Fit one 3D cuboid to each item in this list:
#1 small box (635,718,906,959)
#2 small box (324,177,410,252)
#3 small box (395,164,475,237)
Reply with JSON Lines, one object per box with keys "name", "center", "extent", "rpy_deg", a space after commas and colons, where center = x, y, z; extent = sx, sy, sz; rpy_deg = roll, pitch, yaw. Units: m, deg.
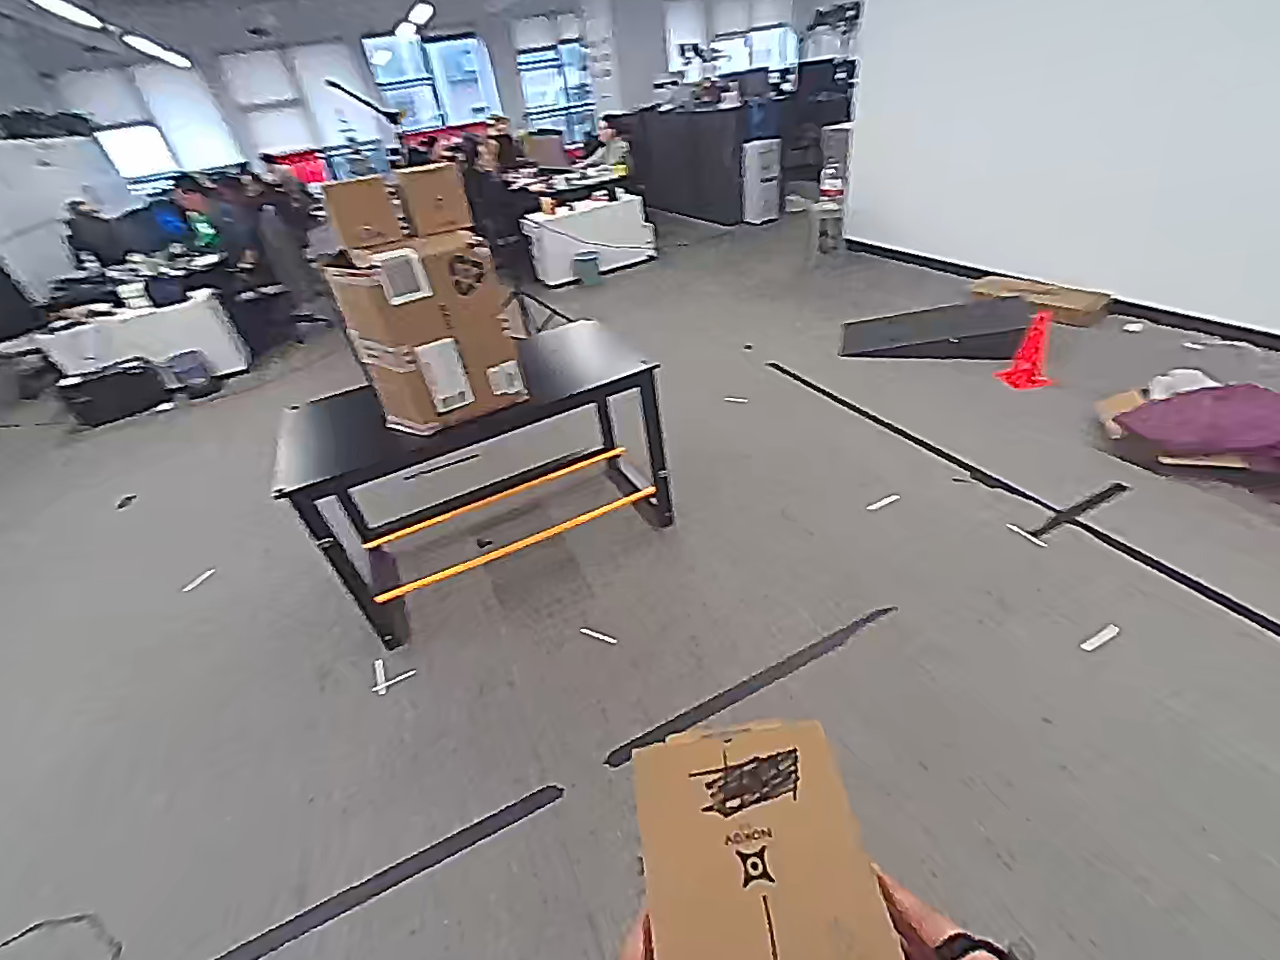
{"name": "small box", "center": [0.092, 0.335, 0.460], "extent": [0.168, 0.176, 0.179], "rpy_deg": [-10, 44, -2]}
{"name": "small box", "center": [-0.792, -0.772, 1.571], "extent": [0.168, 0.176, 0.179], "rpy_deg": [-25, 37, -21]}
{"name": "small box", "center": [-0.616, -0.844, 1.634], "extent": [0.168, 0.176, 0.179], "rpy_deg": [-23, 38, -22]}
